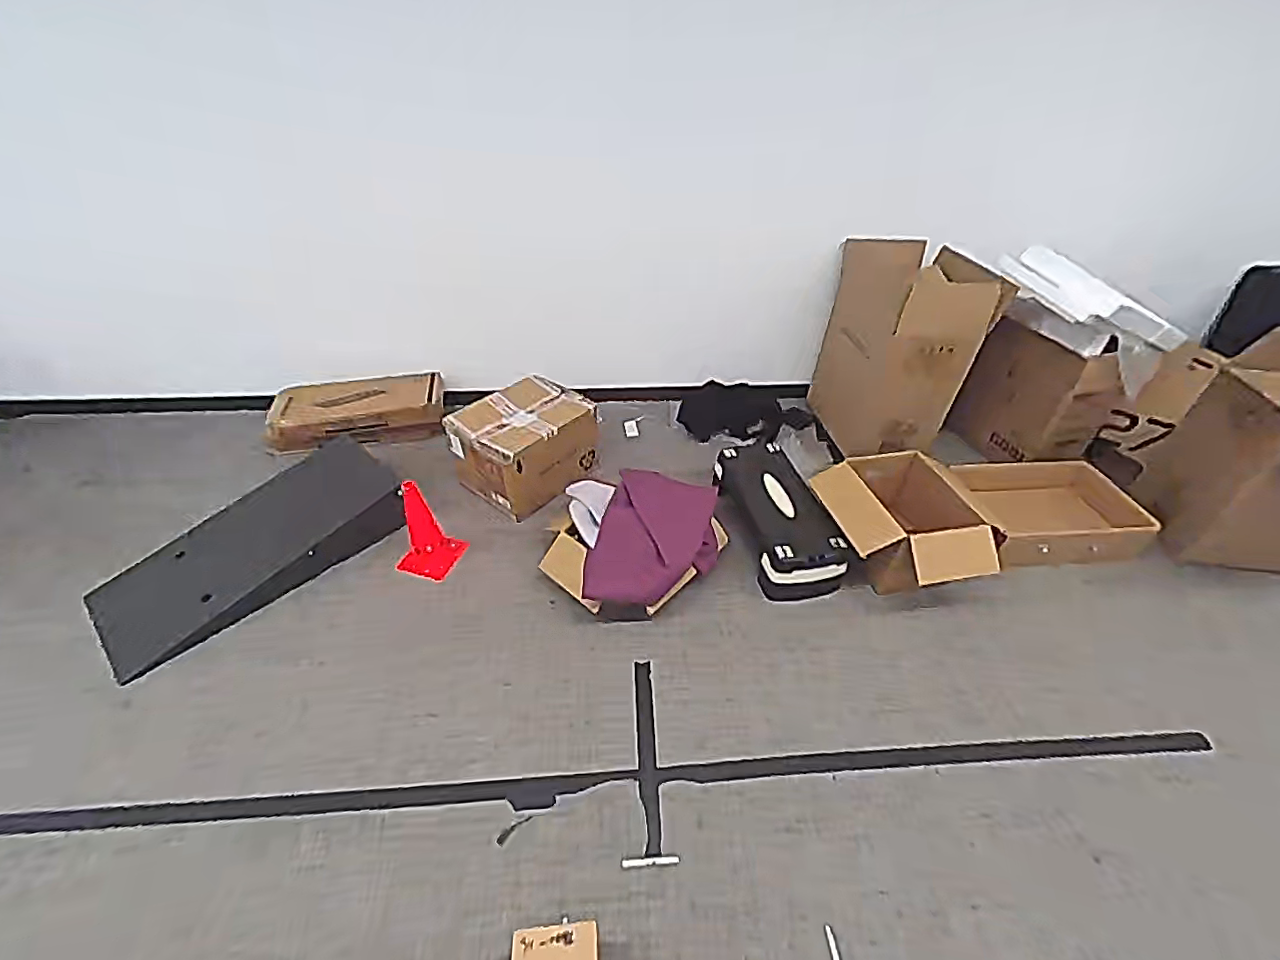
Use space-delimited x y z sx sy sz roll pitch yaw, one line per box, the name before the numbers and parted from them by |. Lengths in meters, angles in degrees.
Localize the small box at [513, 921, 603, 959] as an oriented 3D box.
small box | -0.157 0.997 1.057 0.168 0.176 0.179 -3 40 -4
